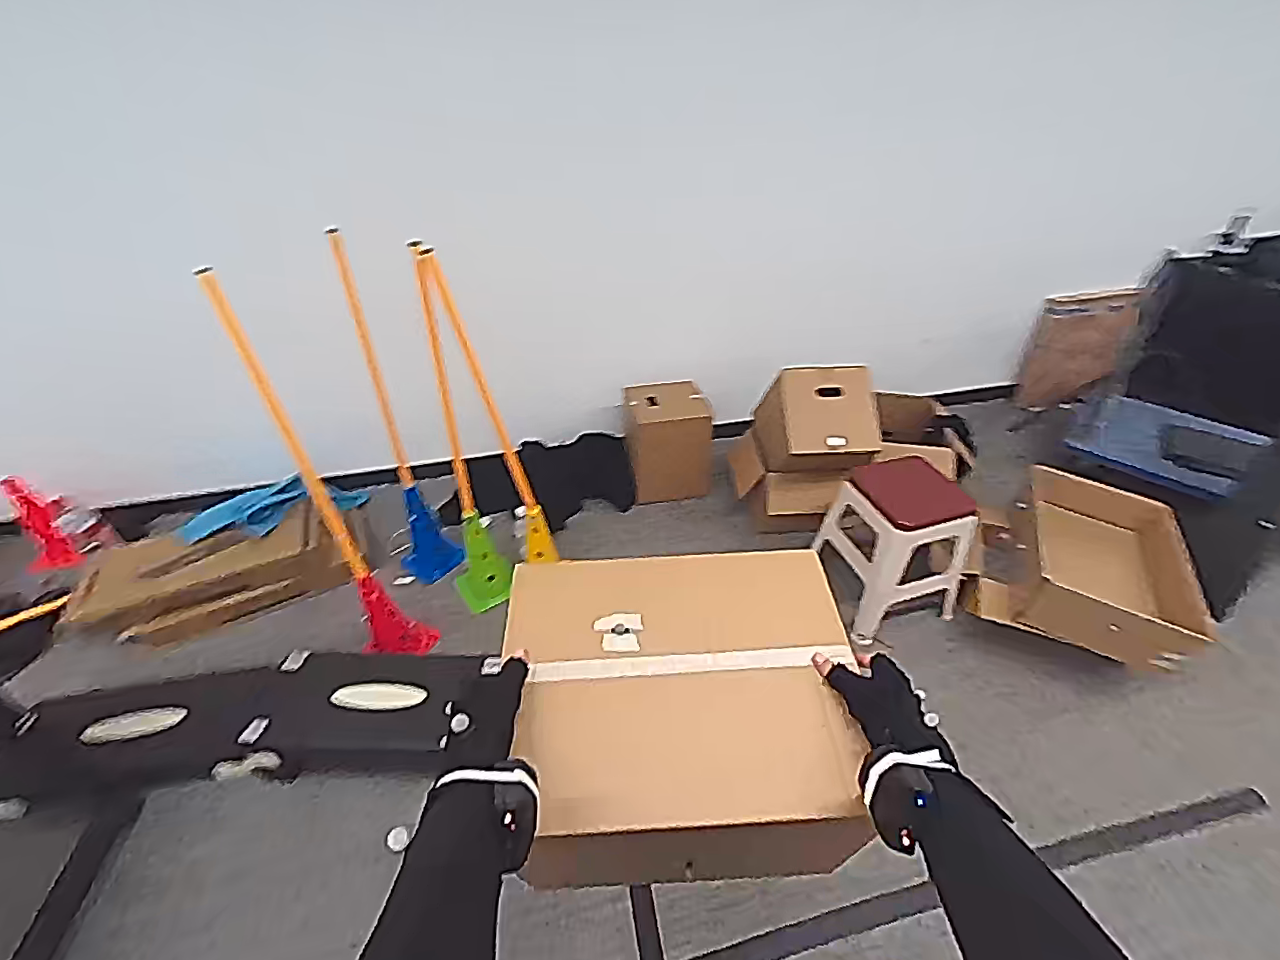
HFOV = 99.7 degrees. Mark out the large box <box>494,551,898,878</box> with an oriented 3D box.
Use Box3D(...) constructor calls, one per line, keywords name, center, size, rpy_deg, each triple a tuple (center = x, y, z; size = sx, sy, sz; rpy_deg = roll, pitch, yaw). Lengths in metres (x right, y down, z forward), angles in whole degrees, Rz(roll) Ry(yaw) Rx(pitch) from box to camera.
Box3D(name="large box", center=(0.055, 0.320, 0.733), size=(0.408, 0.320, 0.320), rpy_deg=(-3, 45, 0))
